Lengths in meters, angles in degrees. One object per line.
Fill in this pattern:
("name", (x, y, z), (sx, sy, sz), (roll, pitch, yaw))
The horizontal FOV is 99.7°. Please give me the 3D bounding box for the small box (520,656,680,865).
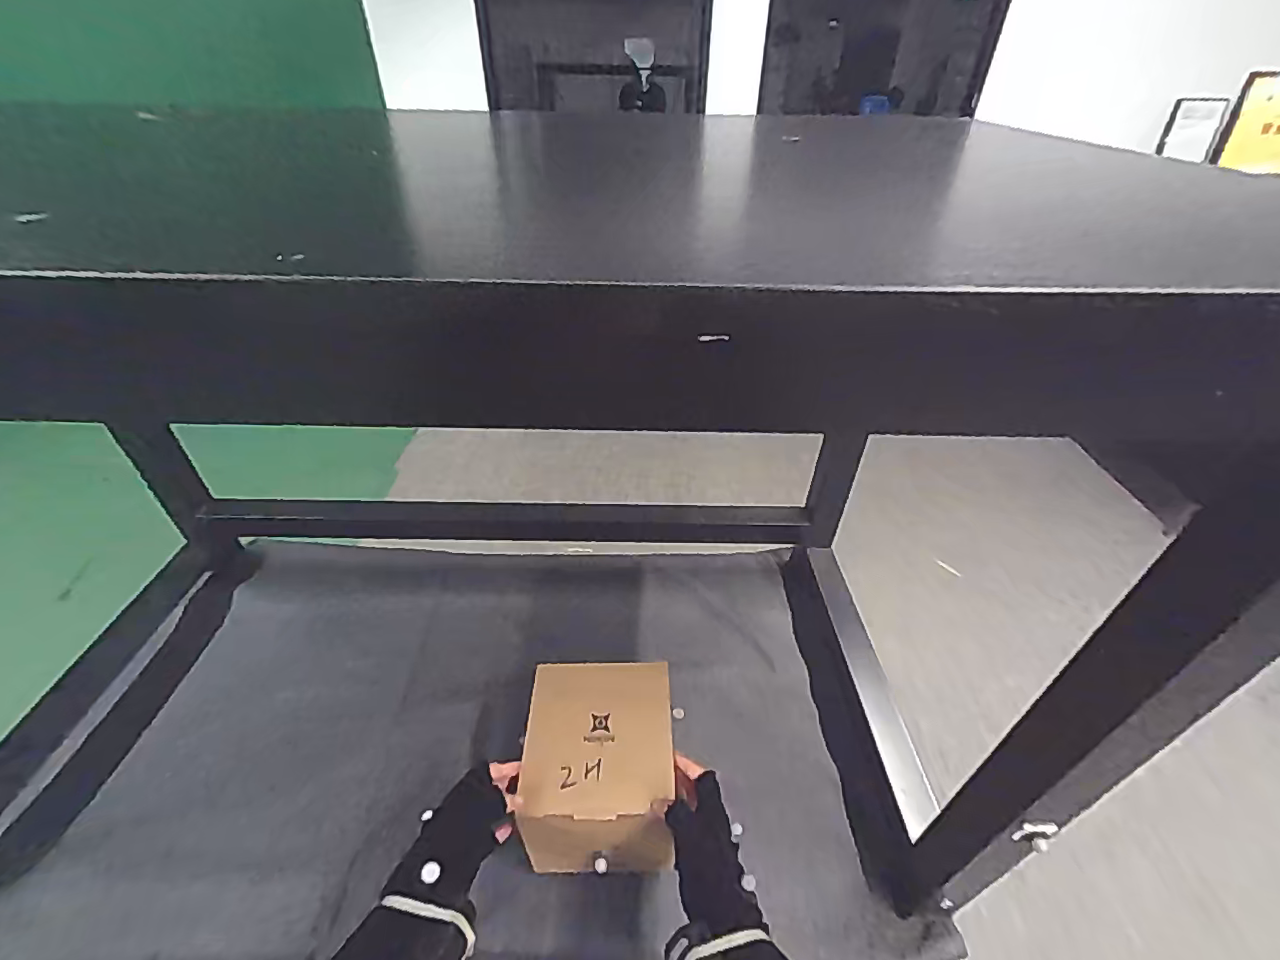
("small box", (-0.040, 0.338, 0.660), (0.168, 0.176, 0.179), (-1, 38, 1))
